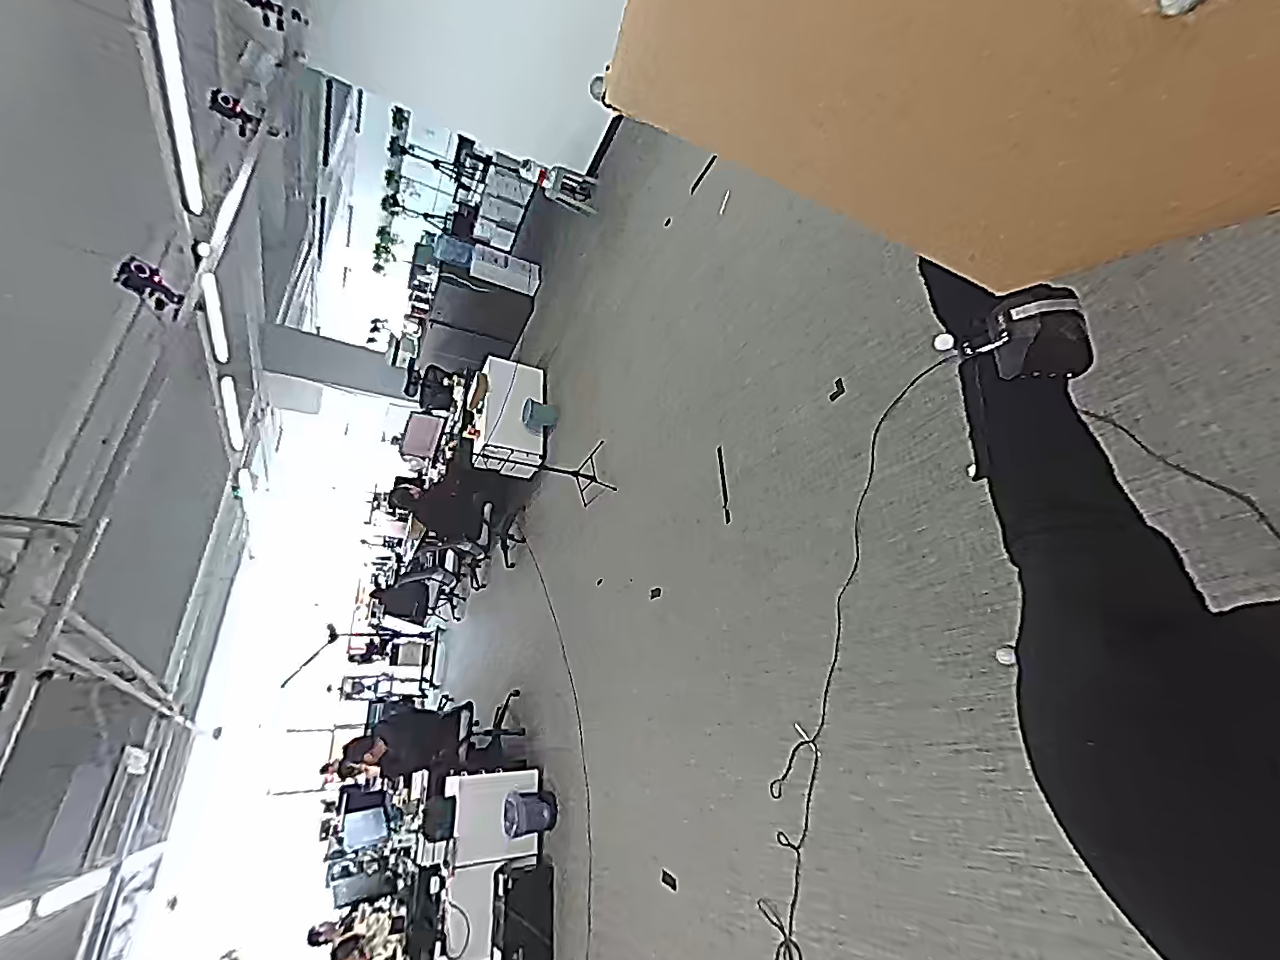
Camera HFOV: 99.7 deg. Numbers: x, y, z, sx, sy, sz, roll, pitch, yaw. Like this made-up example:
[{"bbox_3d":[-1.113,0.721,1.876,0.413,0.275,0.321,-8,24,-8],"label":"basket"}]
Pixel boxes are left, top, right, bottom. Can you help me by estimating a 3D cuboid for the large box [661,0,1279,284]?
[{"bbox_3d":[0.238,-0.317,0.173,0.408,0.320,0.320,-169,97,-78],"label":"large box"}]
